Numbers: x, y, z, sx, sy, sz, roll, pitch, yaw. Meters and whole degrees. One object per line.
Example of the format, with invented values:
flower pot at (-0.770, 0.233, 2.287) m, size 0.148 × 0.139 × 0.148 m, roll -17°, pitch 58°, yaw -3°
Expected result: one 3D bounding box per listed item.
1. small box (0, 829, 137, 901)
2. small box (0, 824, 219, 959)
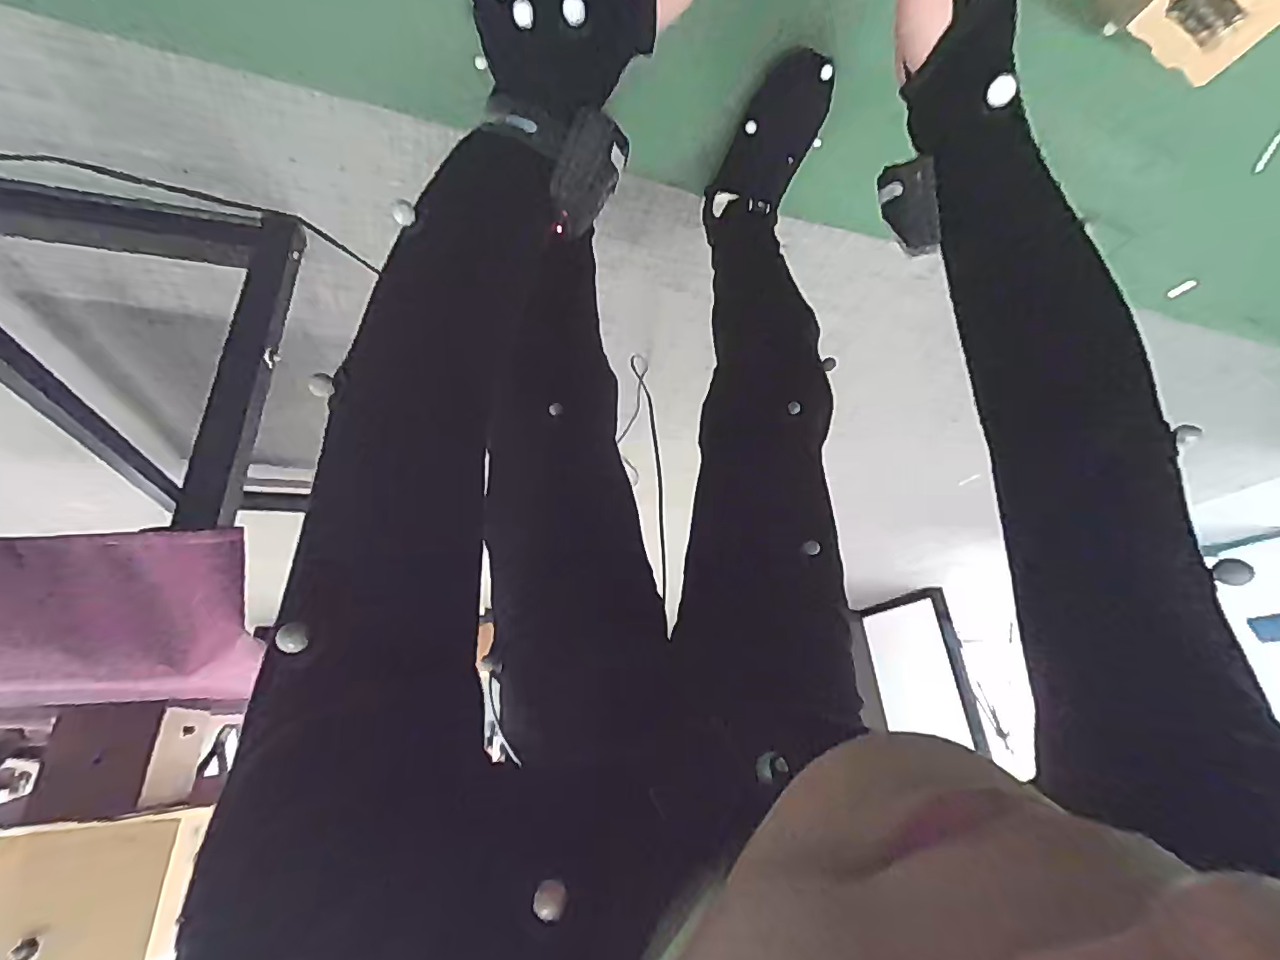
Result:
small box at (-0.929, 0.670, 0.872) m, size 0.179 × 0.176 × 0.168 m, roll 3°, pitch 150°, yaw -14°
small box at (-0.722, 0.576, 0.735) m, size 0.179 × 0.176 × 0.168 m, roll 3°, pitch 151°, yaw -15°
